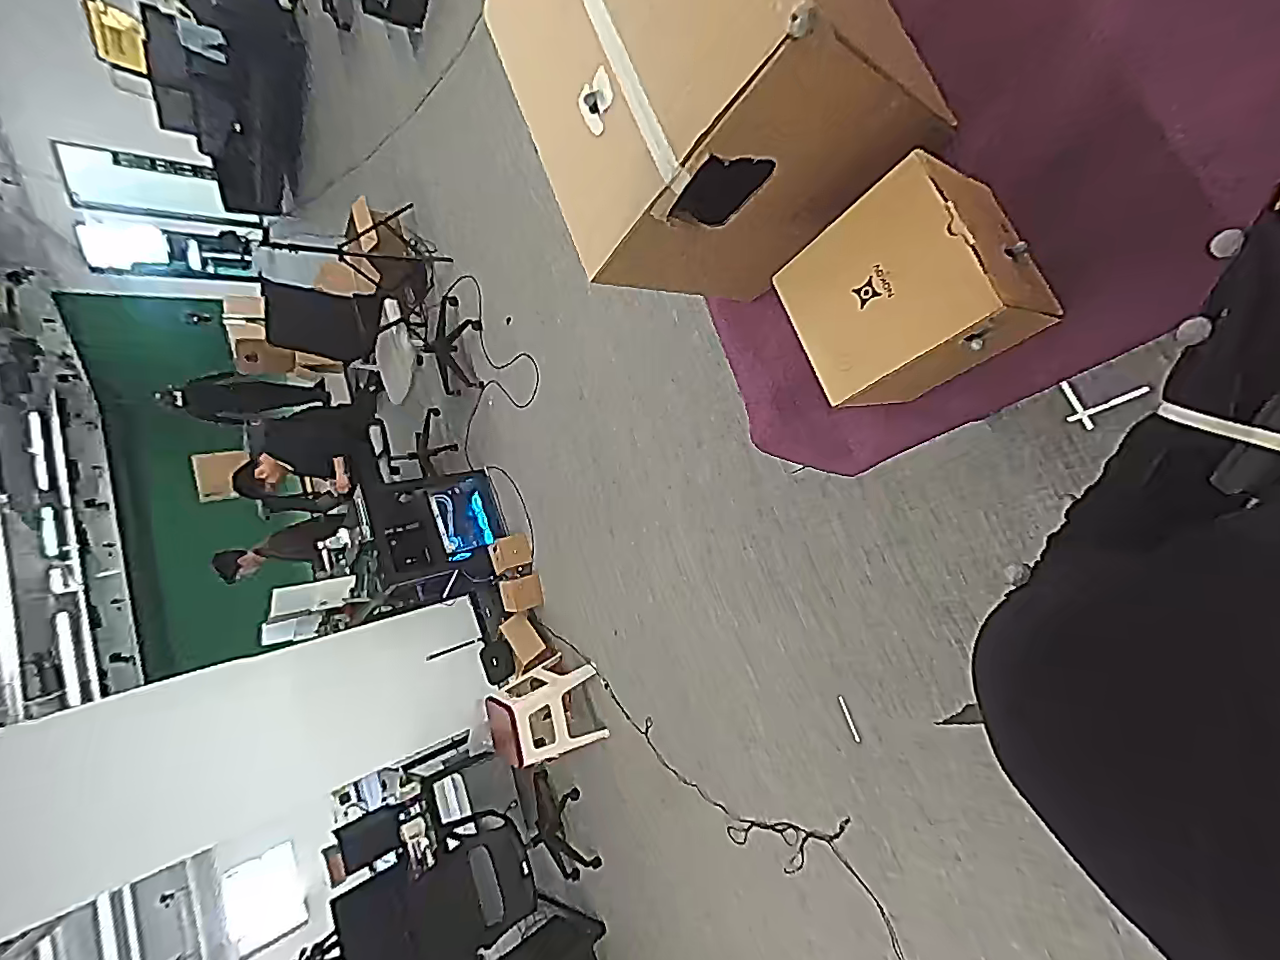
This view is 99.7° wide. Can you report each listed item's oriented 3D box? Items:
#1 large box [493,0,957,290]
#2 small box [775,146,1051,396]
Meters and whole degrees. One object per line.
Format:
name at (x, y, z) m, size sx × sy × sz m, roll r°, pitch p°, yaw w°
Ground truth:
large box at (0.083, -0.490, 0.637) m, size 0.320 × 0.320 × 0.408 m, roll -34°, pitch 75°, yaw 48°
small box at (0.285, -0.202, 0.576) m, size 0.179 × 0.176 × 0.168 m, roll -36°, pitch 70°, yaw 48°
